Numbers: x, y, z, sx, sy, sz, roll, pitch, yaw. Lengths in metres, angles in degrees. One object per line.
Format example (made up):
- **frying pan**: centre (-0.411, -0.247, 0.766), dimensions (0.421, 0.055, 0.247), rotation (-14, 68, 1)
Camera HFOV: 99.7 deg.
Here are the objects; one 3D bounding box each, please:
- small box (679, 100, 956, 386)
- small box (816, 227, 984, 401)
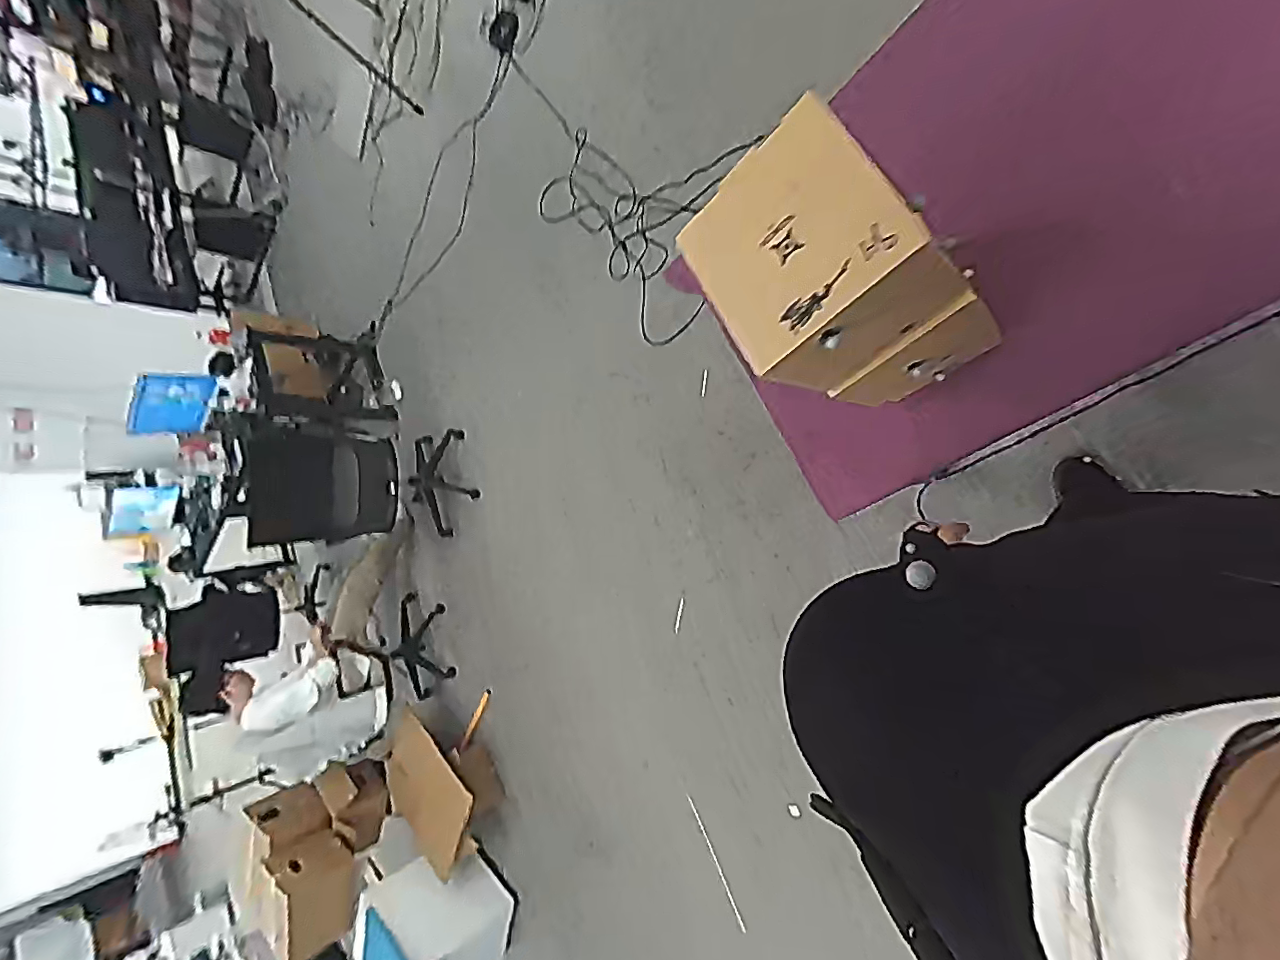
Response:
- **small box**: centre (0.176, -0.212, 0.538), dimensions (0.168, 0.176, 0.179), rotation (-39, 68, 35)
- **small box**: centre (0.285, -0.211, 0.662), dimensions (0.168, 0.176, 0.179), rotation (-38, 69, 34)
